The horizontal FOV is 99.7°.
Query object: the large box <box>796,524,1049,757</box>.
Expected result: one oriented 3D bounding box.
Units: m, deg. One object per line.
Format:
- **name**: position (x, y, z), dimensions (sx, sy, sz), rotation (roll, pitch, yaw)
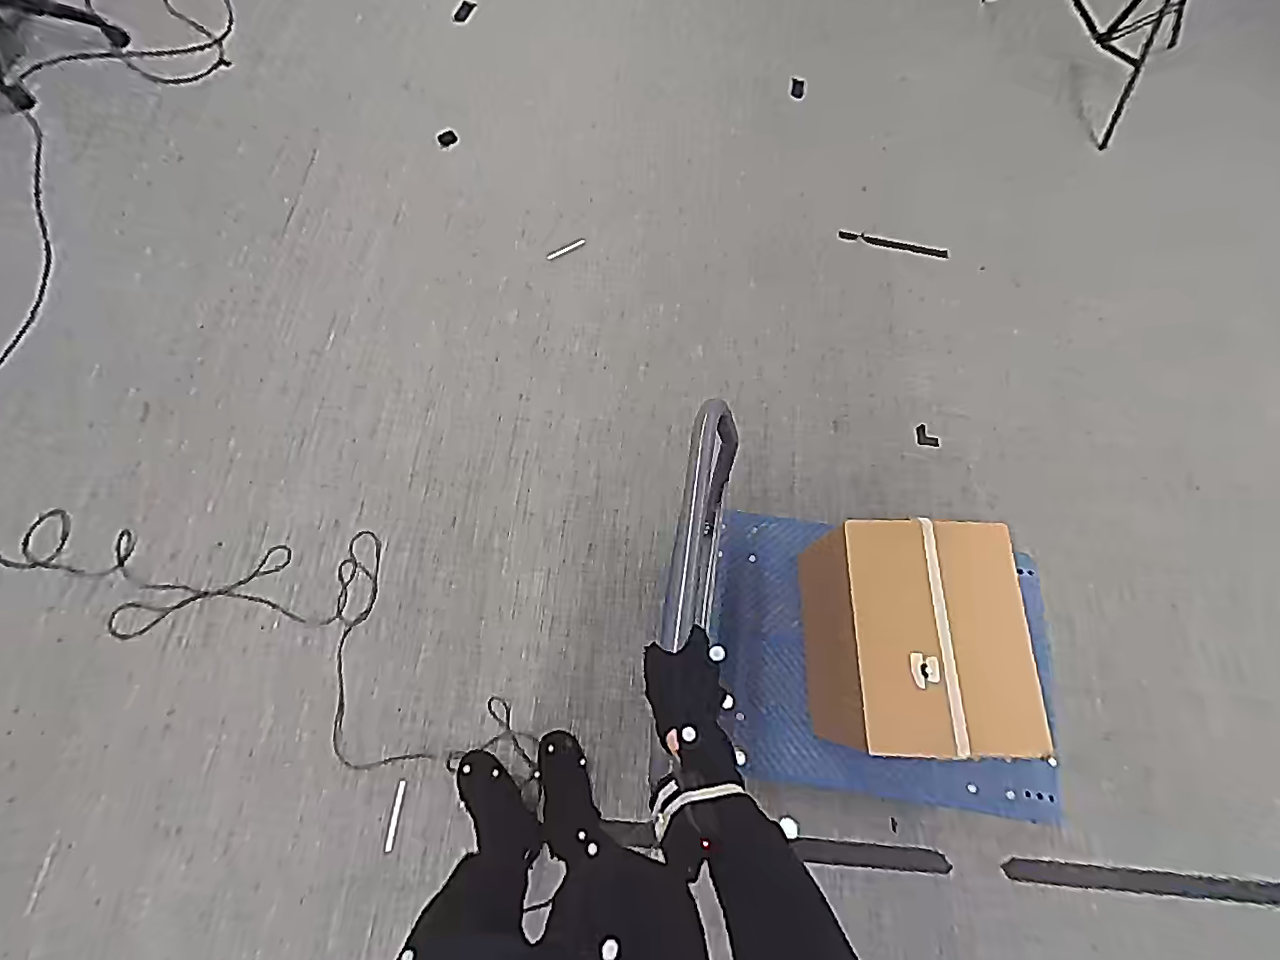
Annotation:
- **large box**: position (0.528, 0.317, 1.101), dimensions (0.320, 0.320, 0.408), rotation (1, 71, 0)
